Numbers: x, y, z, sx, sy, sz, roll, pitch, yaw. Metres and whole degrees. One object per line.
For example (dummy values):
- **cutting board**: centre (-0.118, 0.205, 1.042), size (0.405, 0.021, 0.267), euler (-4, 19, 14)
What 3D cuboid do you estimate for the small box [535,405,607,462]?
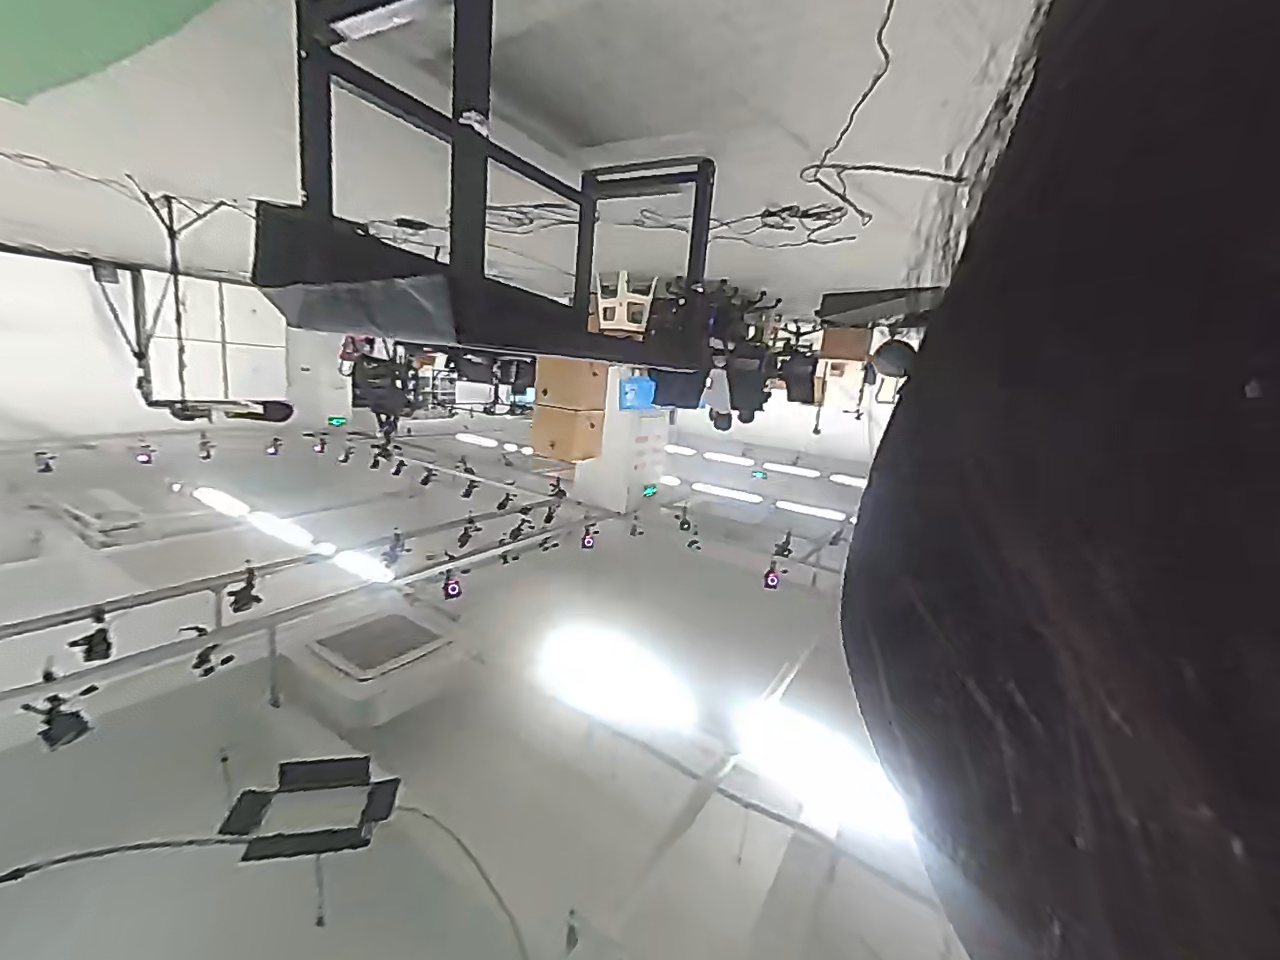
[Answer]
- **small box**: centre (-0.224, -0.161, 1.788), size (0.179, 0.176, 0.168), euler (13, -167, 30)

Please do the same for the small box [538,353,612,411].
- **small box**: centre (-0.207, -0.320, 1.756), size (0.179, 0.176, 0.168), euler (13, -166, 30)
